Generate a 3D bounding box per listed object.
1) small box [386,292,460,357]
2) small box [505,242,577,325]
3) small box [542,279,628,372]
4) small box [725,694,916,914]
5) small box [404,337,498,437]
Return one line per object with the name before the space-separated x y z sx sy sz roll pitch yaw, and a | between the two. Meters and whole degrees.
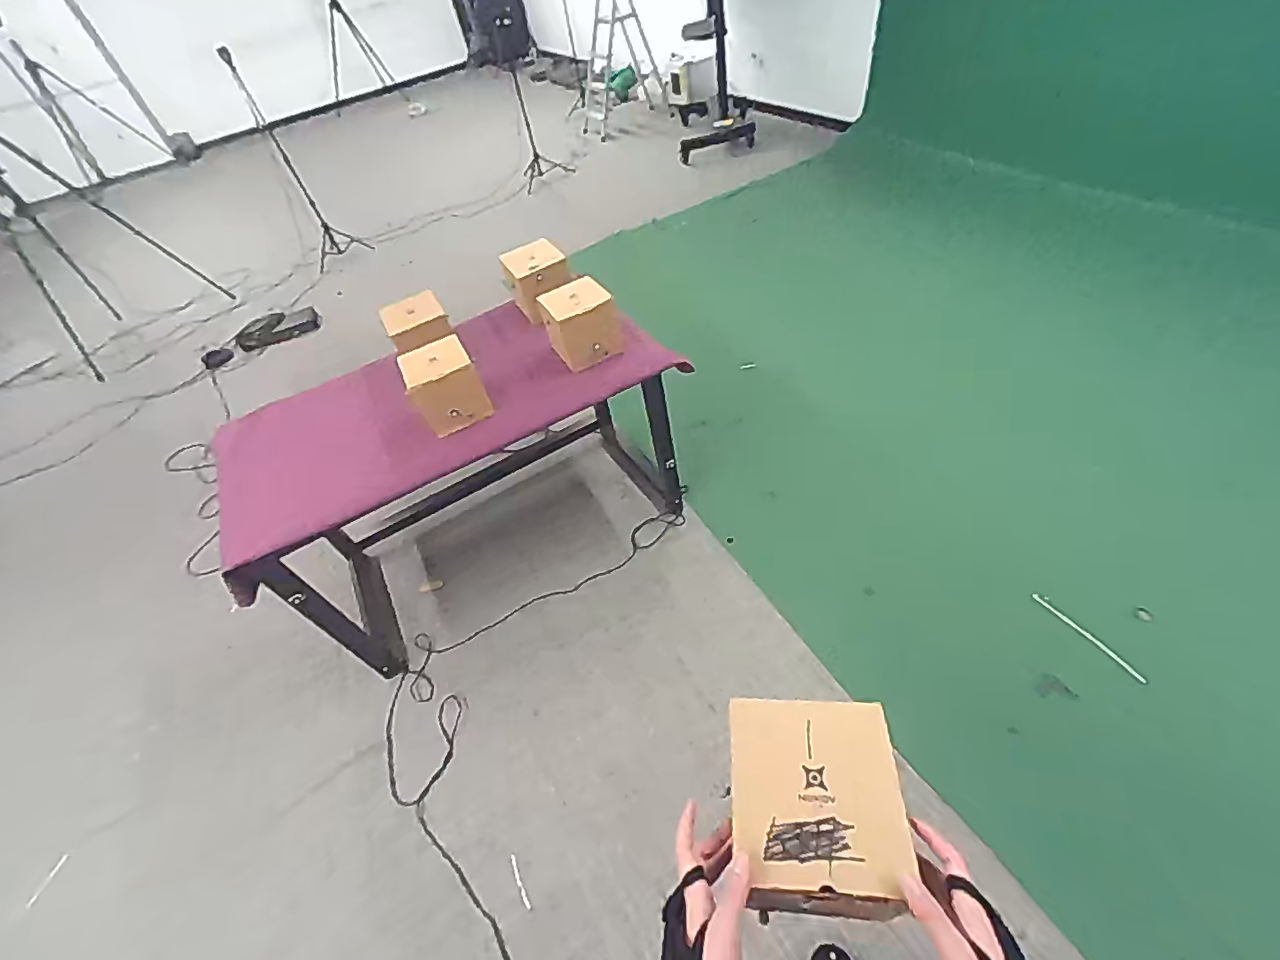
small box | -0.637 -0.430 1.631 0.168 0.176 0.179 -27 51 -12
small box | -0.306 -0.628 1.730 0.168 0.176 0.179 -29 51 -11
small box | -0.153 -0.434 1.524 0.168 0.176 0.179 -27 48 -11
small box | 0.180 0.357 0.595 0.168 0.176 0.179 -1 47 8
small box | -0.500 -0.246 1.436 0.168 0.176 0.179 -27 48 -12
